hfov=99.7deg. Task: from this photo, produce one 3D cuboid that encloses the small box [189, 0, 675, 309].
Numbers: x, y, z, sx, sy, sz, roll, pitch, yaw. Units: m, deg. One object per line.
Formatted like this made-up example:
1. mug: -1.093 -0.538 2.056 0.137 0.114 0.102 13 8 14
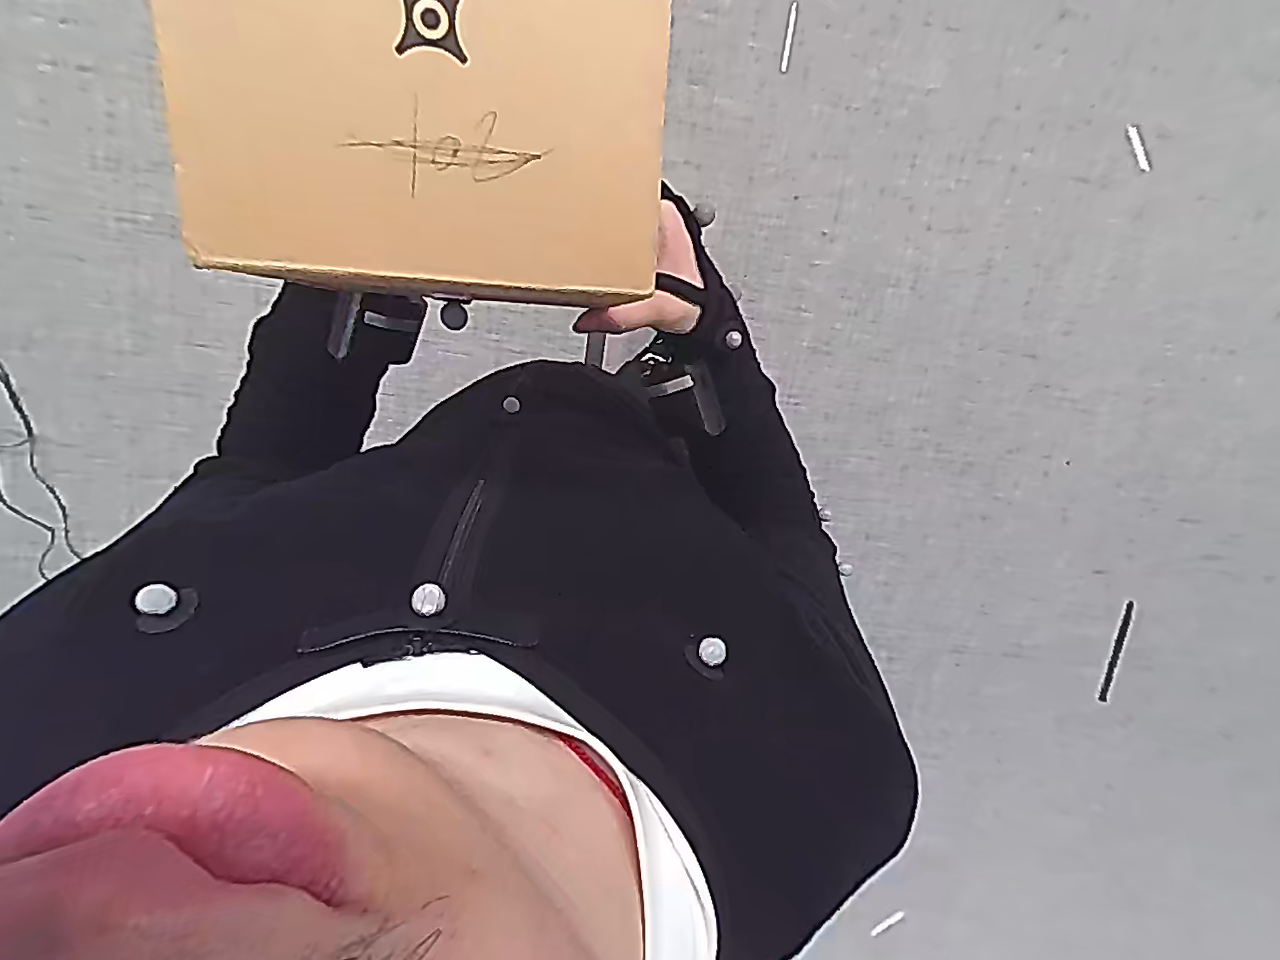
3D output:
1. small box: -0.083 -0.183 0.268 0.168 0.176 0.179 0 106 -10
